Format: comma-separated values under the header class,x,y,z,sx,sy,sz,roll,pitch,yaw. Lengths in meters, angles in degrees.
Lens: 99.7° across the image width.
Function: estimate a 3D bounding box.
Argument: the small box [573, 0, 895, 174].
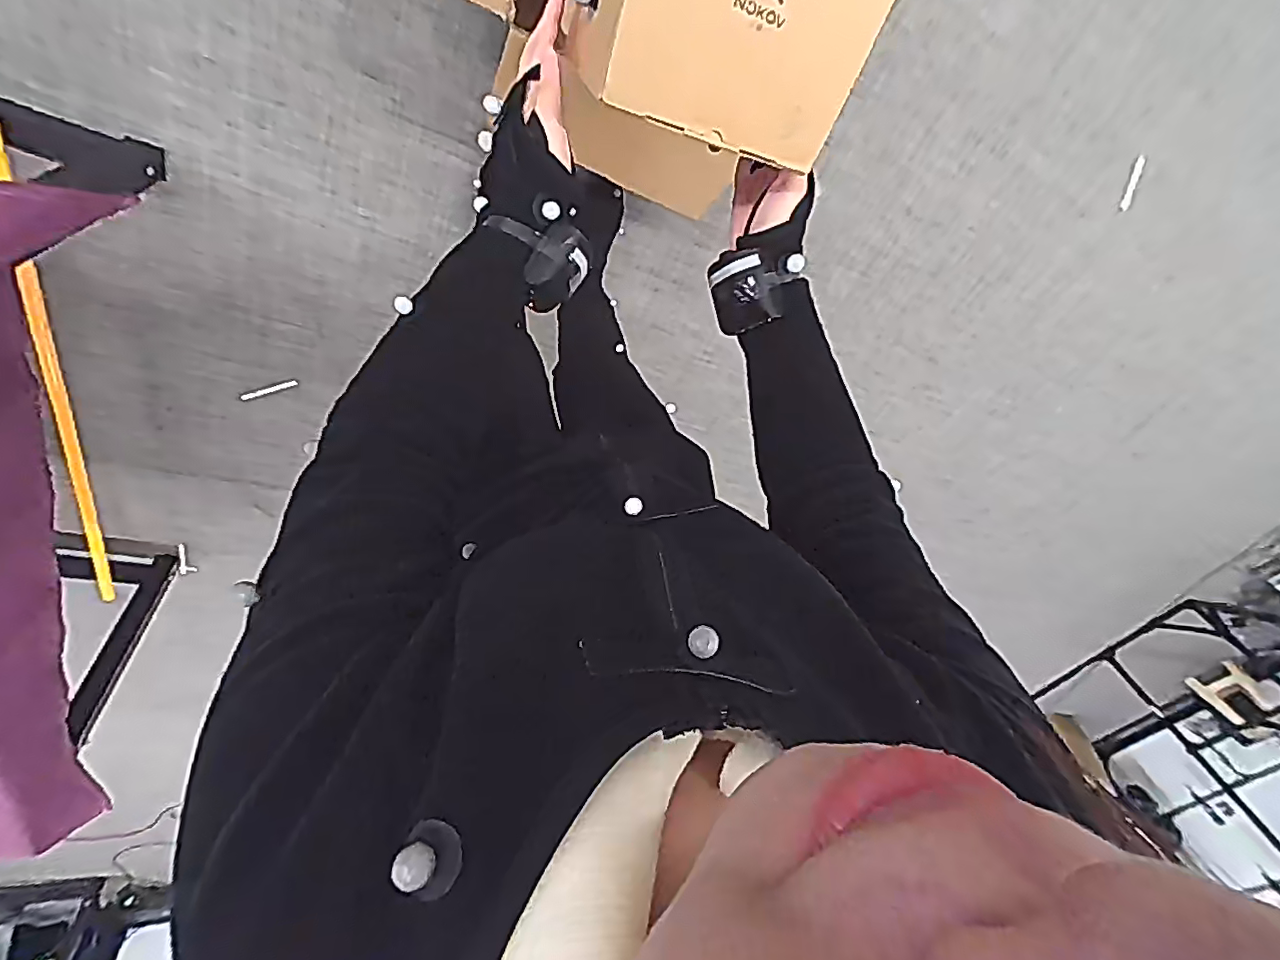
class,x,y,z,sx,sy,sz,roll,pitch,yaw
small box,0.058,-0.349,0.367,0.168,0.176,0.179,4,134,-23
